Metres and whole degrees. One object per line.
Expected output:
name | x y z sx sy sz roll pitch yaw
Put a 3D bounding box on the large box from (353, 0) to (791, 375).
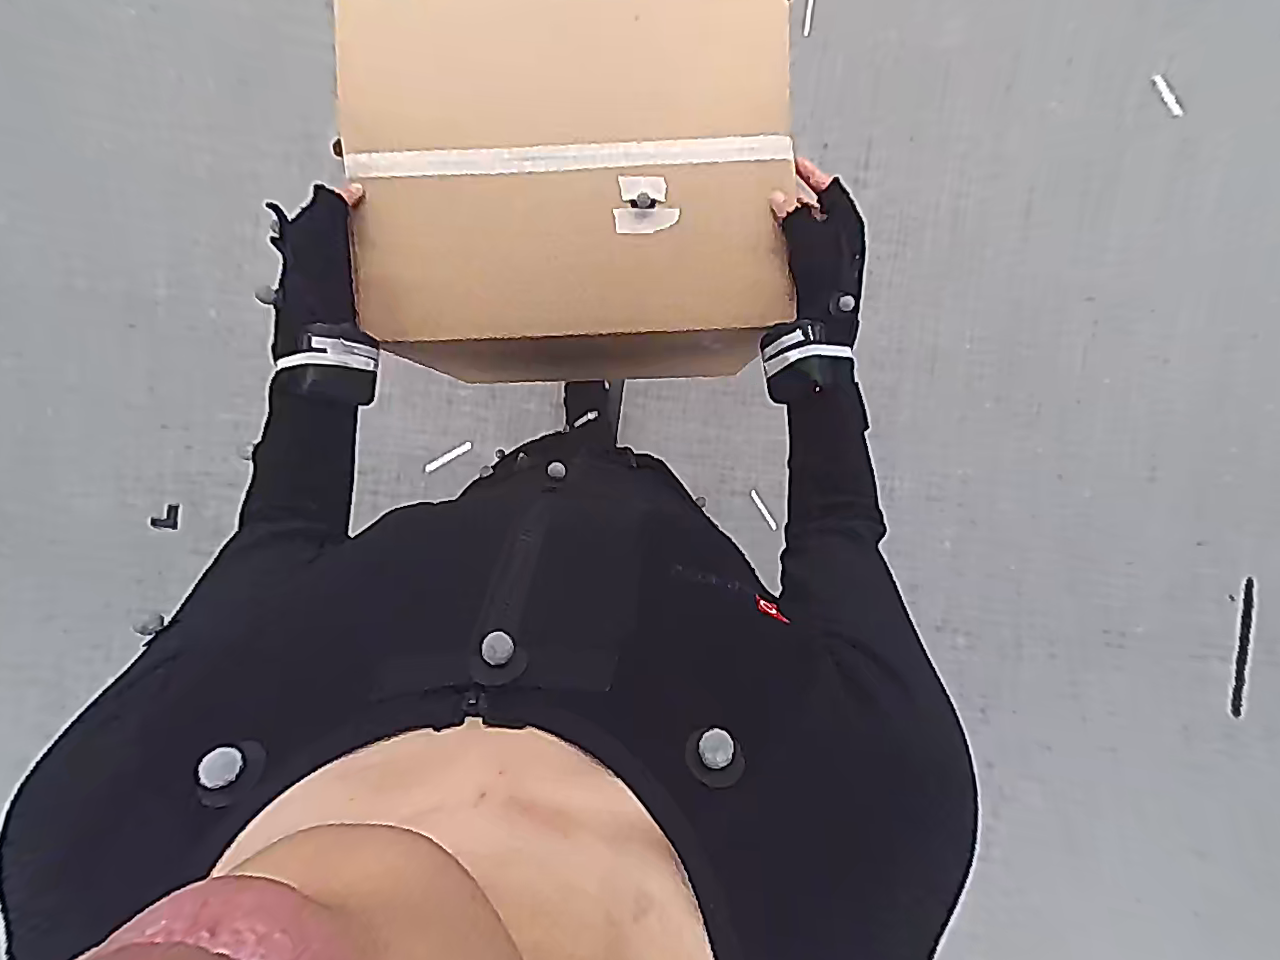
large box | -0.063 -0.312 0.655 0.408 0.320 0.320 -2 94 -1
